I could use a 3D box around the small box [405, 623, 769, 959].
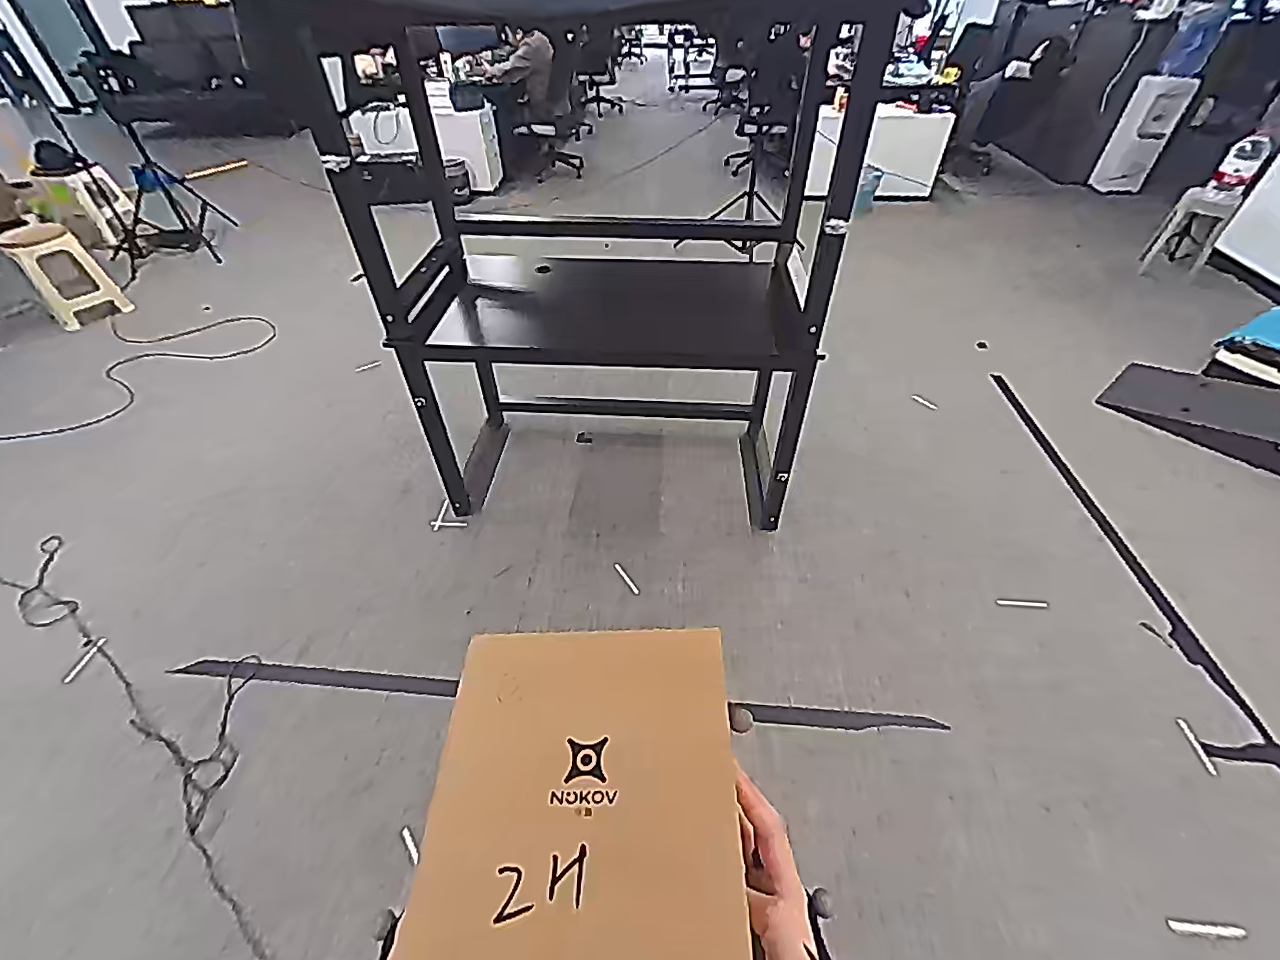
[{"bbox_3d":[-0.018,0.212,0.350,0.168,0.176,0.179,-3,47,4],"label":"small box"}]
